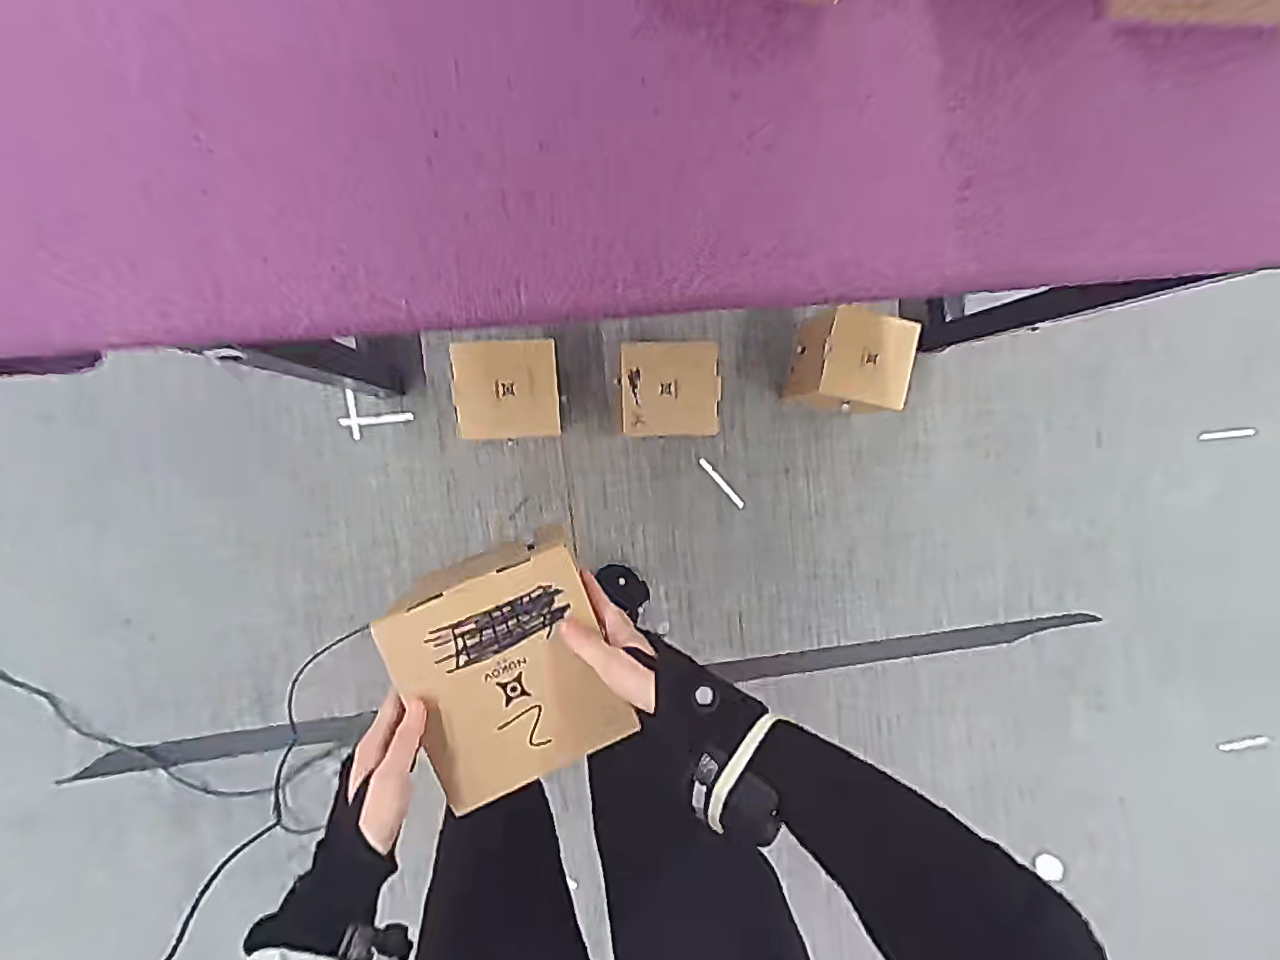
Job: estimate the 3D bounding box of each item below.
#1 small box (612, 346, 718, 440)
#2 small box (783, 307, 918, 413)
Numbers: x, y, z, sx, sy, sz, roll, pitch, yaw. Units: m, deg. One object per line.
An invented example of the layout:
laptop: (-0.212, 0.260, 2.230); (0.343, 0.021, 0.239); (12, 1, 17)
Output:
small box: (0.042, -0.161, 1.037); (0.179, 0.176, 0.168); (-2, 94, -8)
small box: (0.413, -0.230, 1.084); (0.179, 0.176, 0.168); (11, 93, -7)
